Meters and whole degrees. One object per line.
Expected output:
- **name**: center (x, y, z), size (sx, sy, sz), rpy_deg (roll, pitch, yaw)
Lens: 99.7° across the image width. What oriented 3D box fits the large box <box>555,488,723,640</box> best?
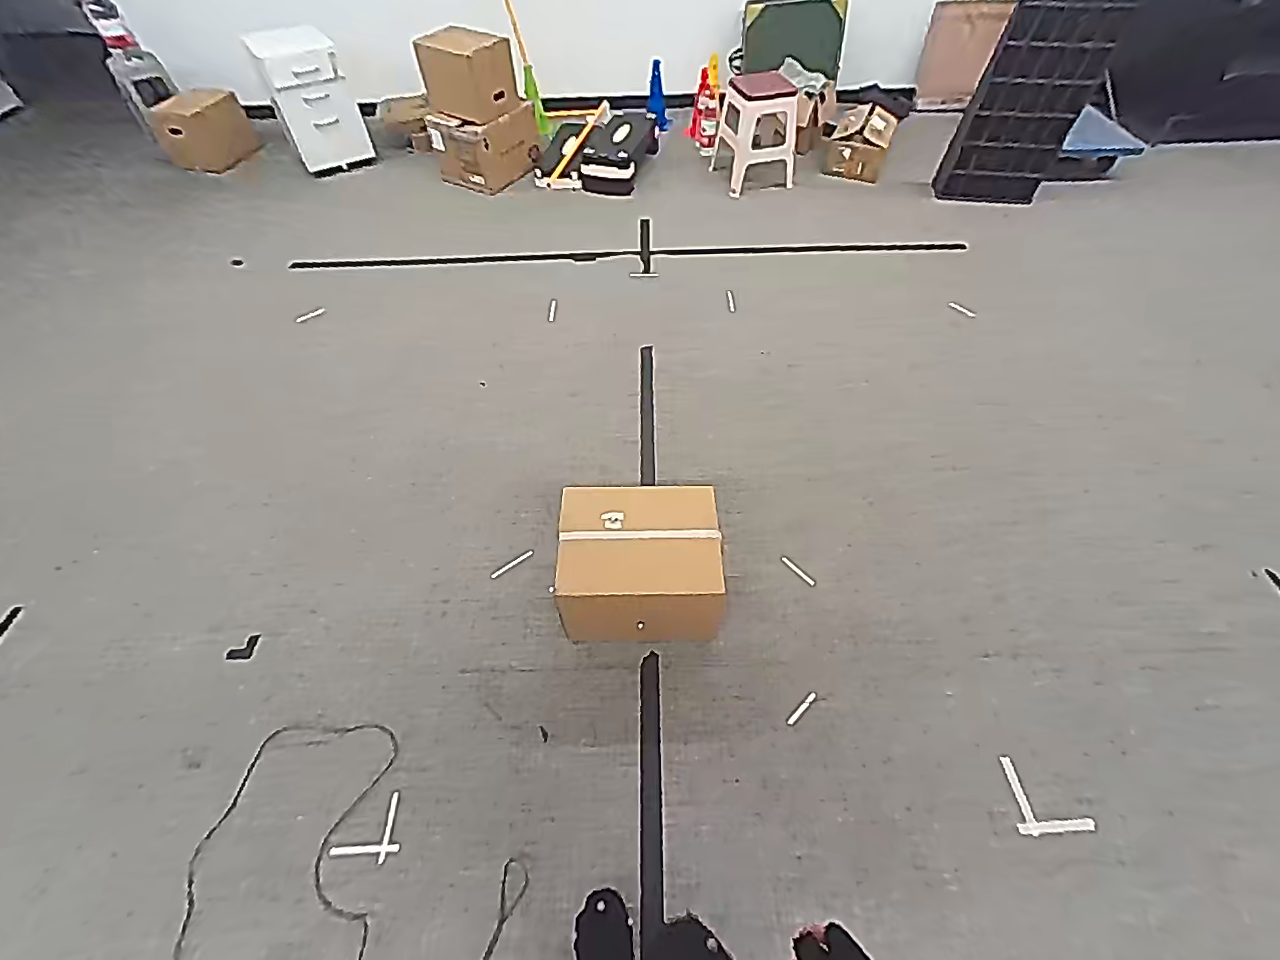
- **large box**: center (0.000, 0.236, 1.478), size (0.408, 0.320, 0.320), rpy_deg (-1, 53, 1)
